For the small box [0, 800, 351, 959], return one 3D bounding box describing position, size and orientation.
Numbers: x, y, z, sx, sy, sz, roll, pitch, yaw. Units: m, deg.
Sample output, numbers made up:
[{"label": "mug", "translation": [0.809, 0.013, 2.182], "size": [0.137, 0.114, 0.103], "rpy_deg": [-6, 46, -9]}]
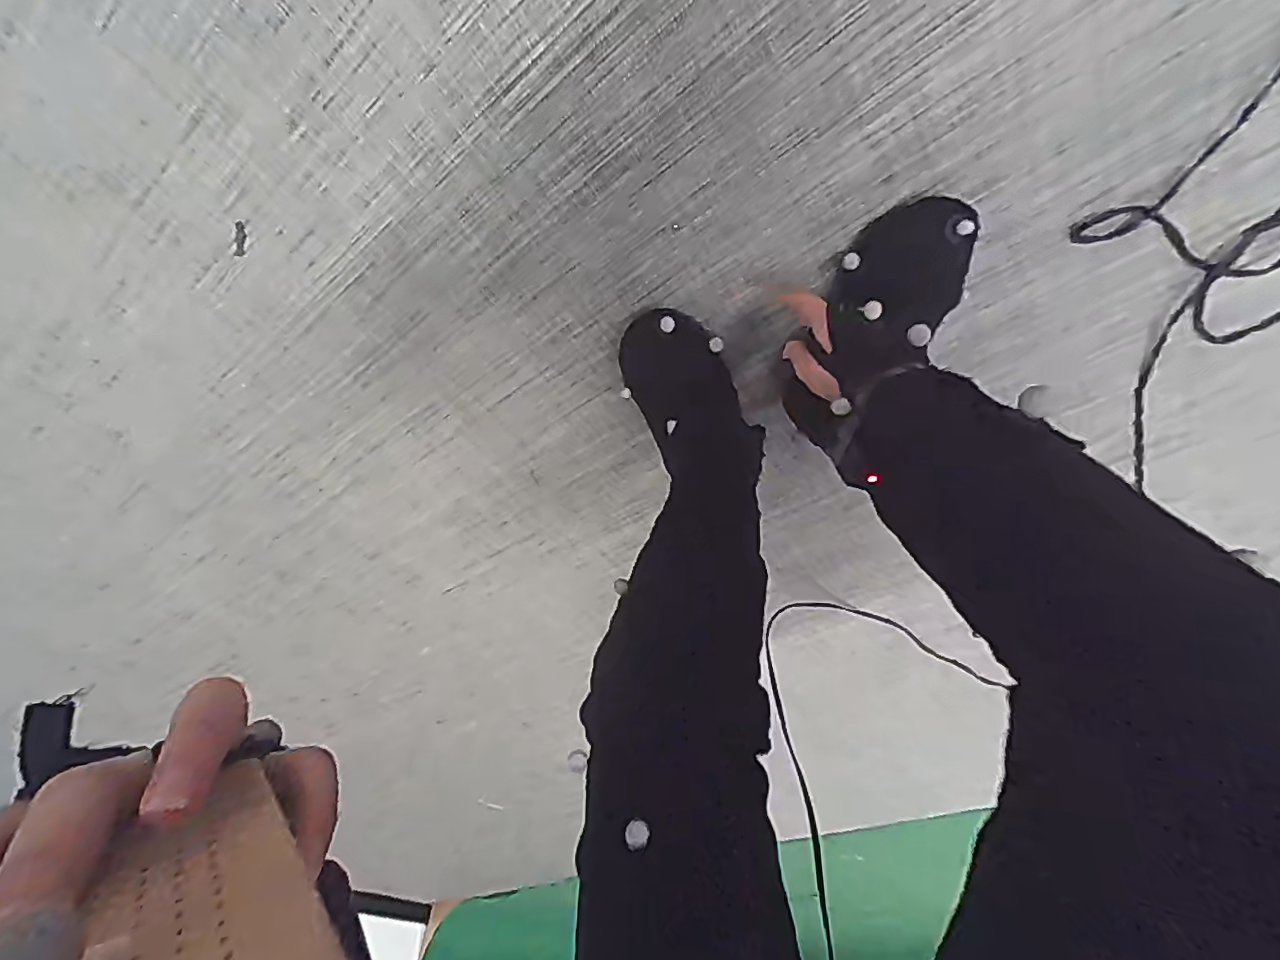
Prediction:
[{"label": "small box", "translation": [-0.110, 0.184, 0.072], "size": [0.179, 0.176, 0.168], "rpy_deg": [-10, 95, 49]}]
